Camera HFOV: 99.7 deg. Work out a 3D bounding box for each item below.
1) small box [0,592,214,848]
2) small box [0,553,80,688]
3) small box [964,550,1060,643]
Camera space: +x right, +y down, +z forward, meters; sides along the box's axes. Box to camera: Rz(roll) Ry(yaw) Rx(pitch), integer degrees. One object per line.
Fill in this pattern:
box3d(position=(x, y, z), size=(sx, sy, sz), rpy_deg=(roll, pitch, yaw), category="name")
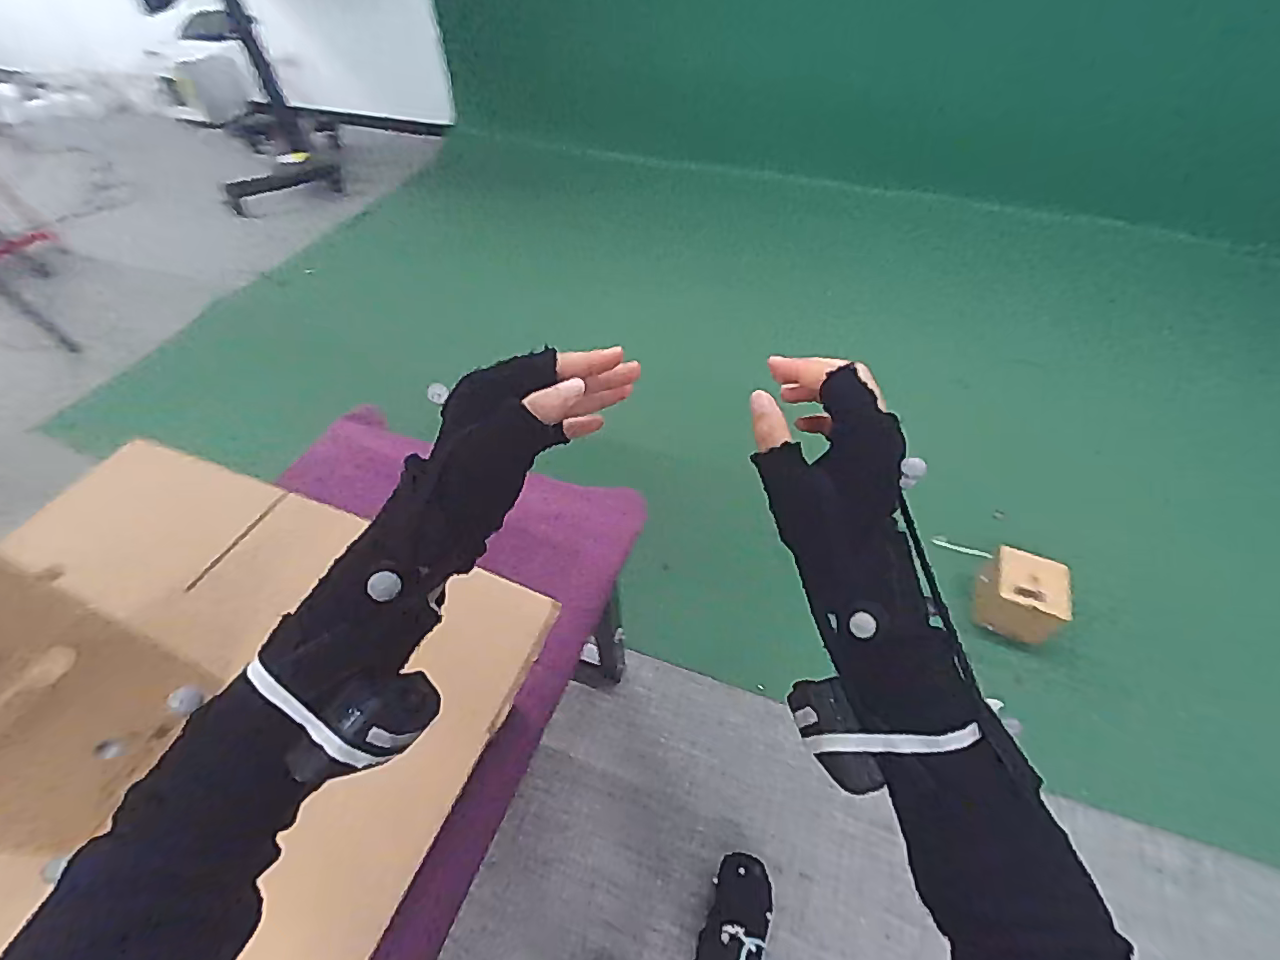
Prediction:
box3d(position=(-0.536, 0.187, 0.463), size=(0.179, 0.176, 0.168), rpy_deg=(17, 54, 15), category="small box")
box3d(position=(-0.542, 0.084, 0.336), size=(0.179, 0.176, 0.168), rpy_deg=(15, 53, 14), category="small box")
box3d(position=(1.032, 0.330, 1.511), size=(0.168, 0.176, 0.179), rpy_deg=(17, 55, 13), category="small box")
